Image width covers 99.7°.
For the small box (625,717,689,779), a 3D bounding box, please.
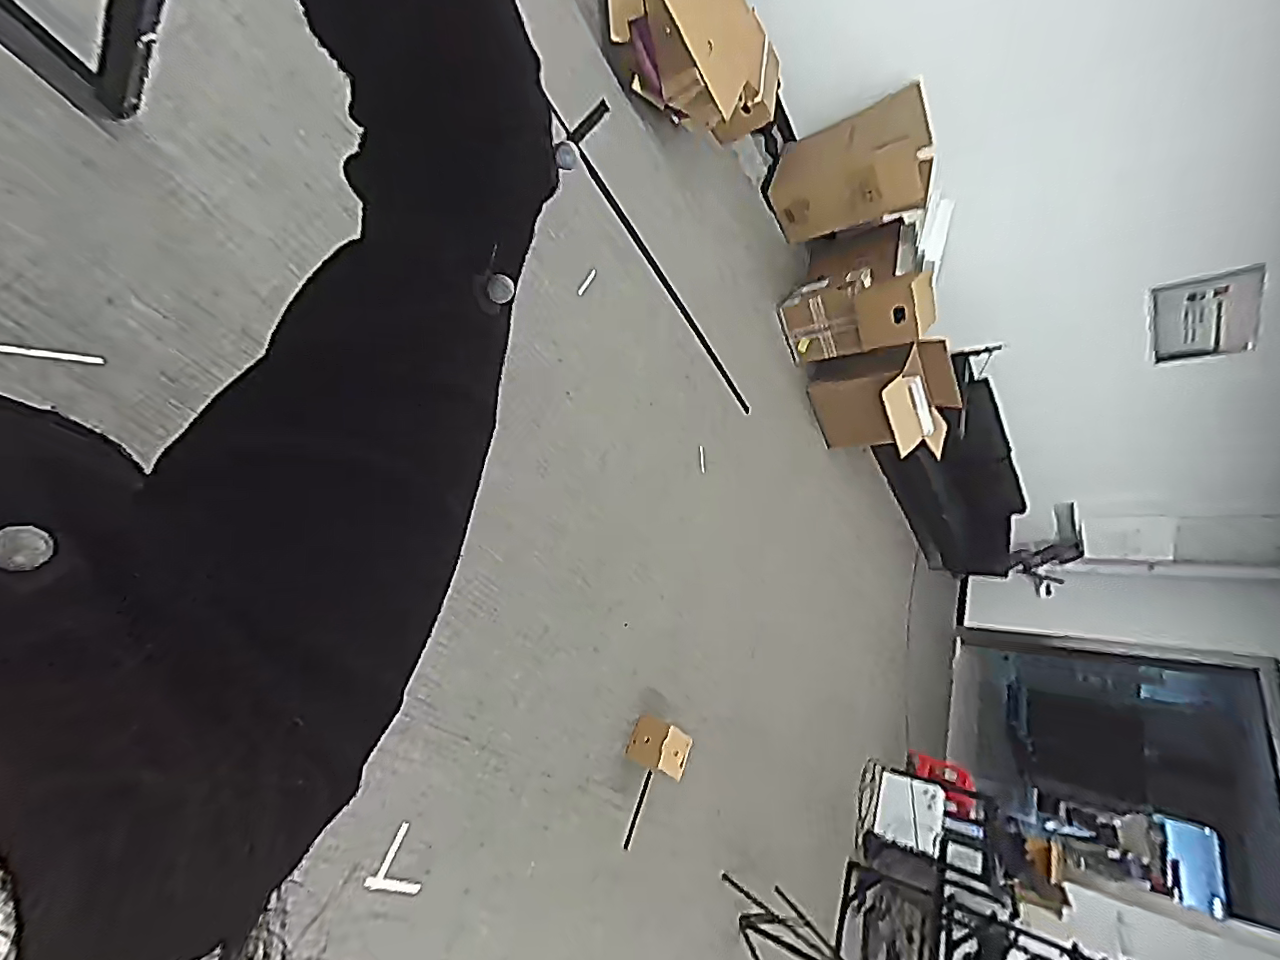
[{"bbox_3d":[0.066,1.085,2.201,0.179,0.176,0.168,49,53,-33],"label":"small box"}]
